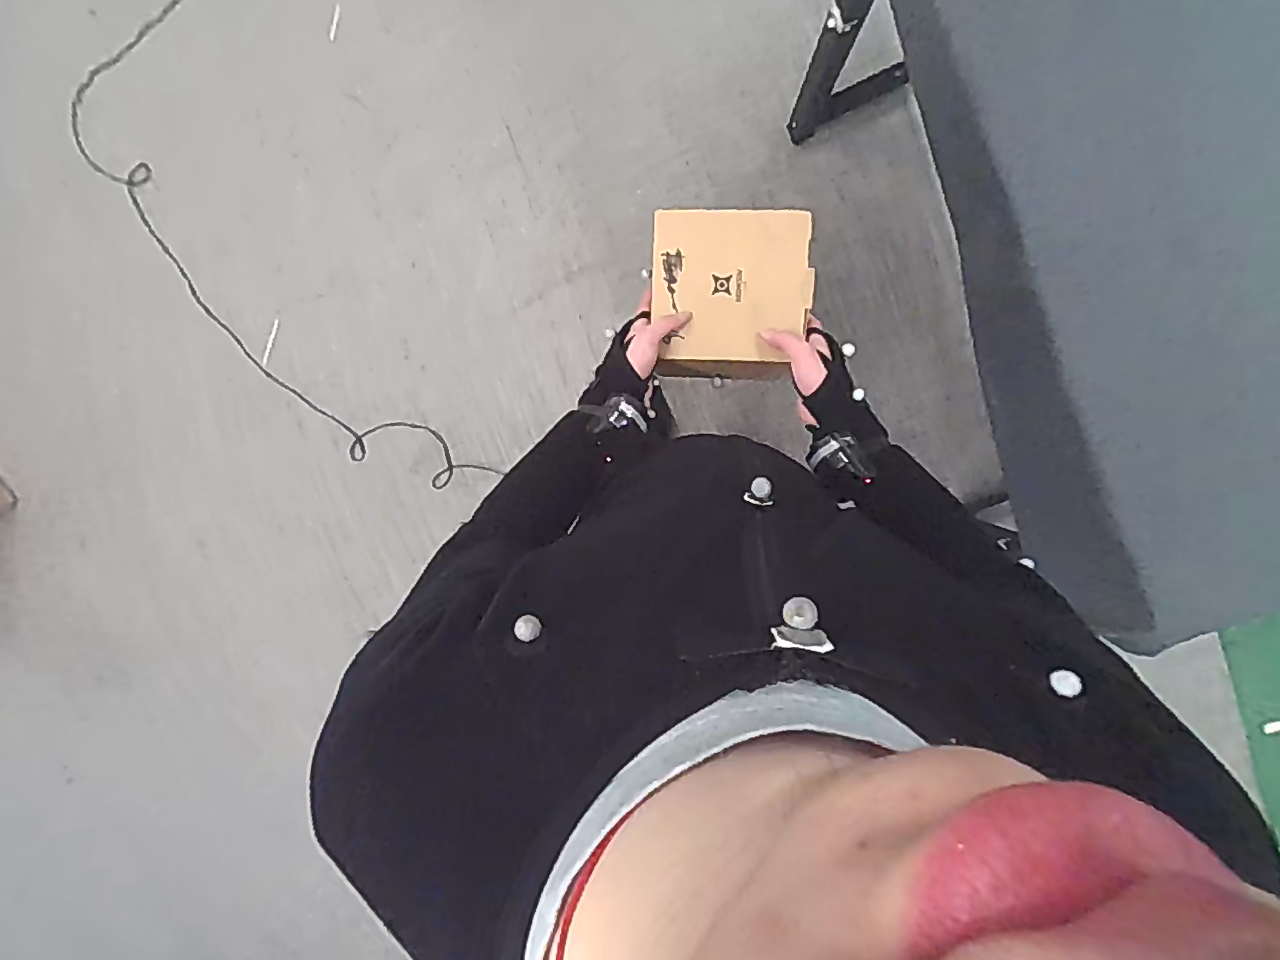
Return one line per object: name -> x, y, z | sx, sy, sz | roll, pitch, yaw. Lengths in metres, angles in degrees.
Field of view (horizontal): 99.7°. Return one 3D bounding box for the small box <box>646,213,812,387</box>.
small box -> 0.101, -0.212, 0.675 | 0.179, 0.176, 0.168 | 3, 92, 3
